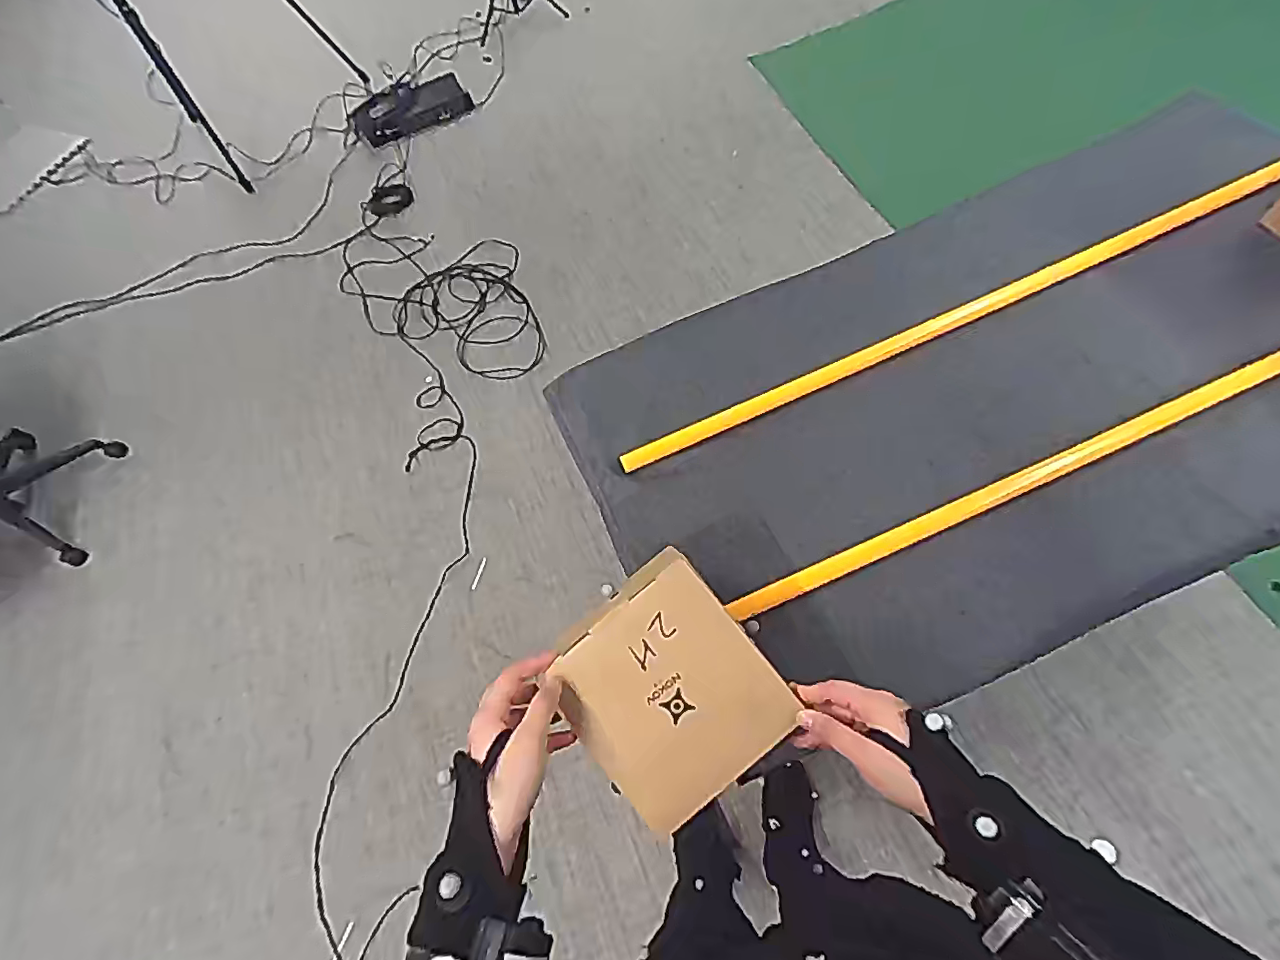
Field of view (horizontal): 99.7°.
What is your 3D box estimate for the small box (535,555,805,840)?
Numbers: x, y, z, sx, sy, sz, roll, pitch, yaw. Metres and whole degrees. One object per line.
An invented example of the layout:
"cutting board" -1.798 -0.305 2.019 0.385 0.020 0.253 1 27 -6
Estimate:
"small box" 0.026 0.191 0.536 0.168 0.176 0.179 -39 87 -3
